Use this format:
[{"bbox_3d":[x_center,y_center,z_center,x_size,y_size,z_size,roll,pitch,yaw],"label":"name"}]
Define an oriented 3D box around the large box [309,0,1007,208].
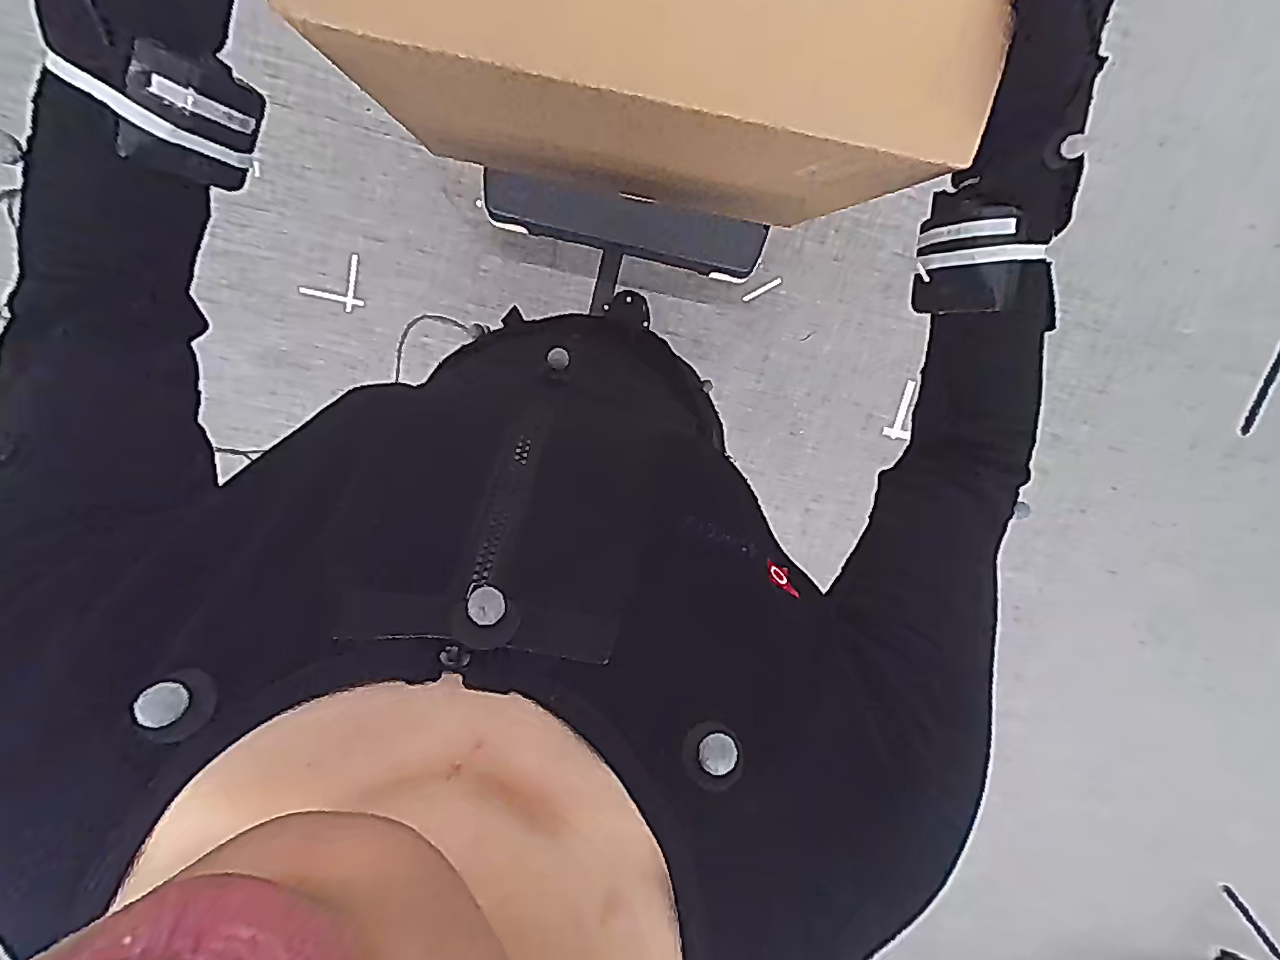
[{"bbox_3d":[0.018,-0.426,0.410,0.408,0.320,0.320,6,109,-9],"label":"large box"}]
